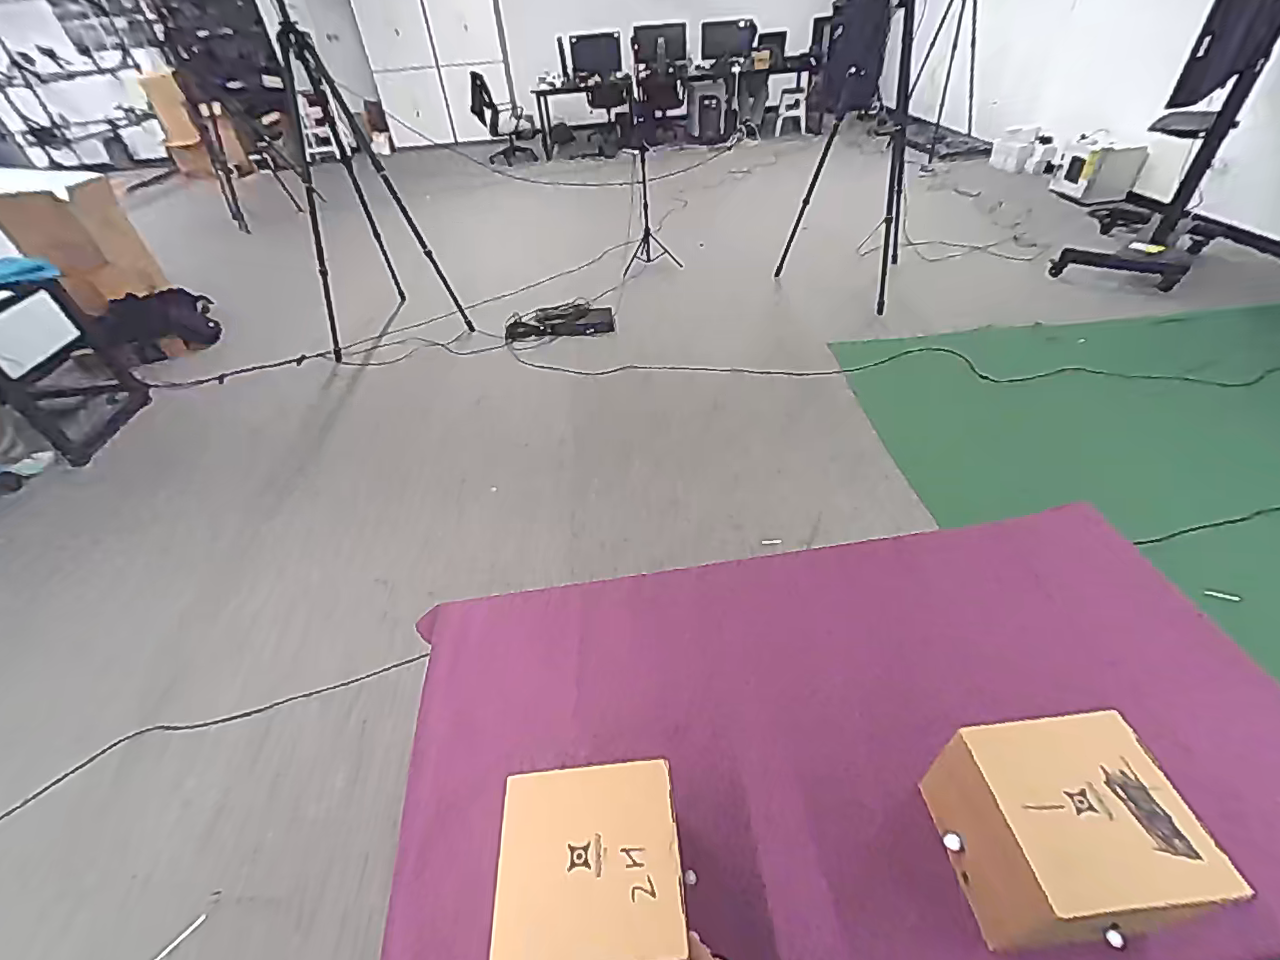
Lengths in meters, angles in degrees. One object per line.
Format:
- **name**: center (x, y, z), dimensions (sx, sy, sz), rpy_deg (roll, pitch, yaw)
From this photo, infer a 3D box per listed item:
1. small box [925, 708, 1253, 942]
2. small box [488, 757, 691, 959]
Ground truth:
- **small box**: center (0.441, 0.365, 0.573), dimensions (0.179, 0.176, 0.168), rpy_deg (-7, 42, 0)
- **small box**: center (-0.043, 0.417, 0.571), dimensions (0.179, 0.176, 0.168), rpy_deg (-6, 43, 0)
